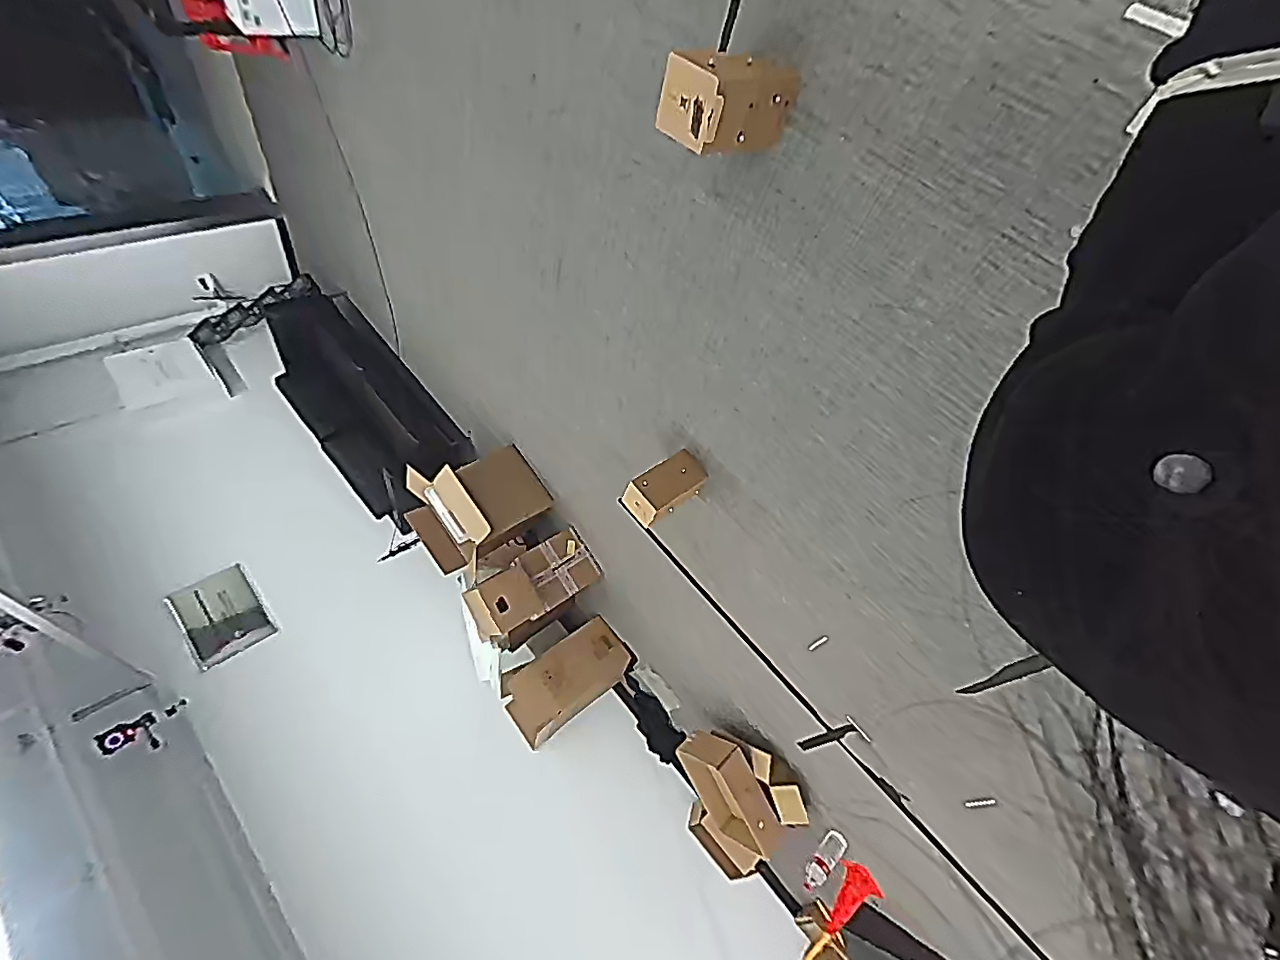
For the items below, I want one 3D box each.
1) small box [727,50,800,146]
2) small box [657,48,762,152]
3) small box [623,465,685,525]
[{"bbox_3d":[0.291,-1.023,1.441,0.179,0.176,0.168,45,145,22],"label":"small box"},{"bbox_3d":[0.174,-0.954,1.349,0.179,0.176,0.168,45,145,21],"label":"small box"},{"bbox_3d":[0.061,0.057,2.342,0.179,0.176,0.168,48,147,14],"label":"small box"}]
